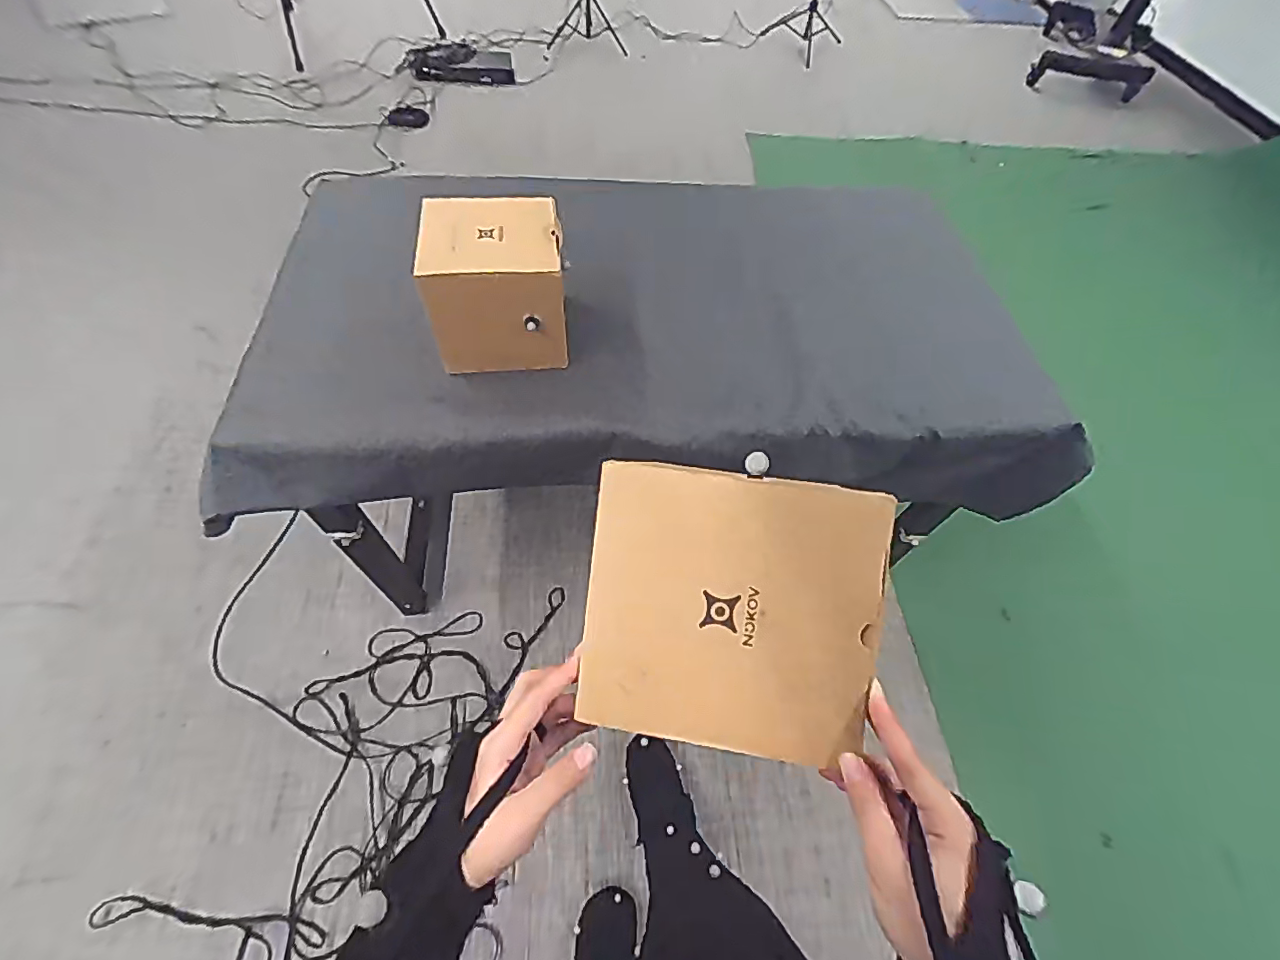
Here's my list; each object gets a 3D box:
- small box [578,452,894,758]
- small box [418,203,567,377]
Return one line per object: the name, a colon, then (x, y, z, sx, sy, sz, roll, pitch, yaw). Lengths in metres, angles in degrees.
small box: (0.067, 0.074, 0.409, 0.179, 0.176, 0.168, 7, 91, 8)
small box: (-0.195, -0.264, 0.763, 0.179, 0.176, 0.168, -6, 57, -7)
